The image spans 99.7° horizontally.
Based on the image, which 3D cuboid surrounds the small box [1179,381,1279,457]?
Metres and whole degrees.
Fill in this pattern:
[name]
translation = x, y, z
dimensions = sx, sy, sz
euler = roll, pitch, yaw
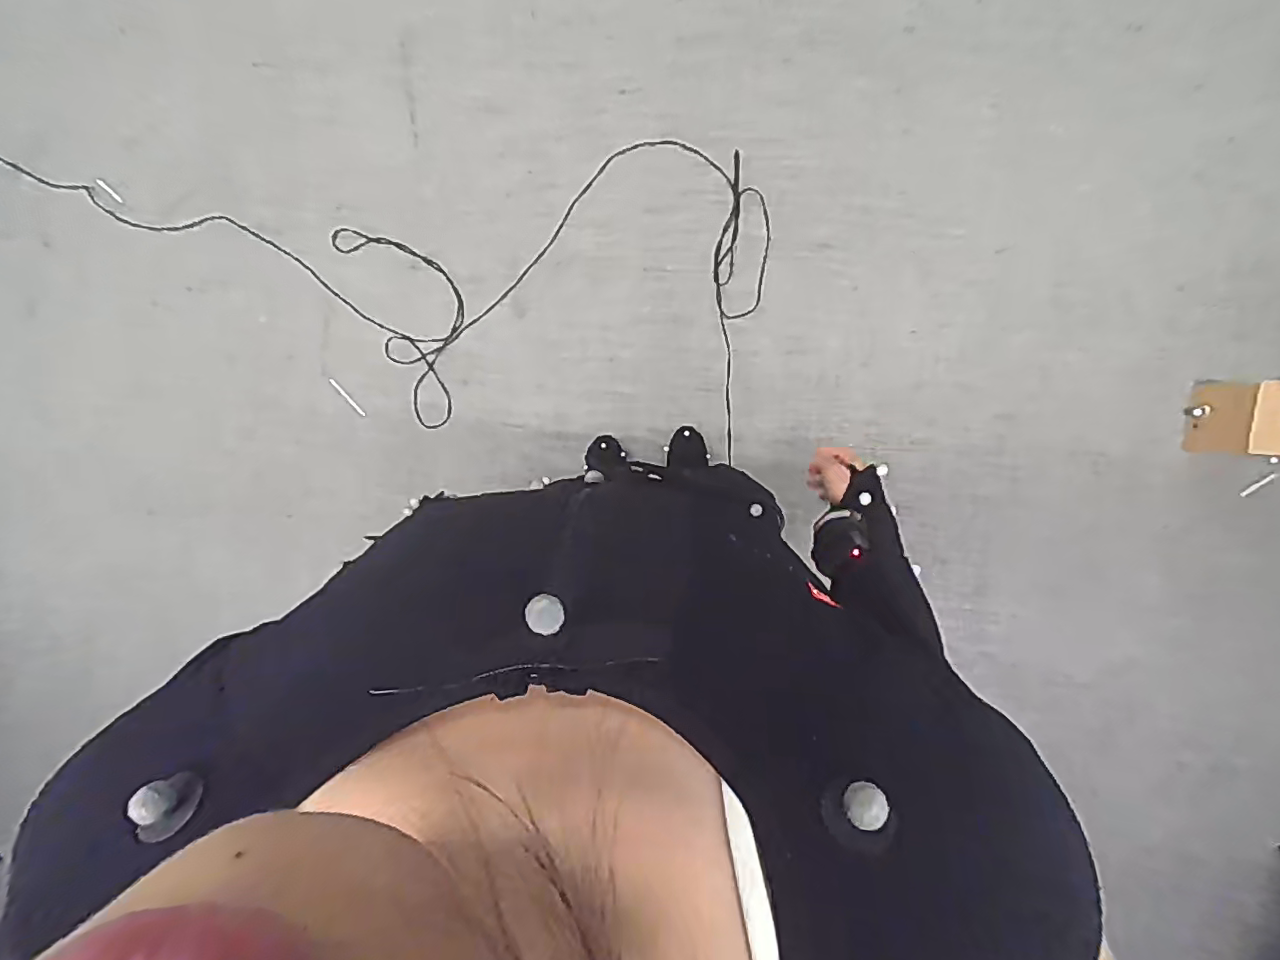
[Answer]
[small box]
translation = 1.454, -0.142, 1.278
dimensions = 0.179, 0.176, 0.168
euler = 4, 96, 5
